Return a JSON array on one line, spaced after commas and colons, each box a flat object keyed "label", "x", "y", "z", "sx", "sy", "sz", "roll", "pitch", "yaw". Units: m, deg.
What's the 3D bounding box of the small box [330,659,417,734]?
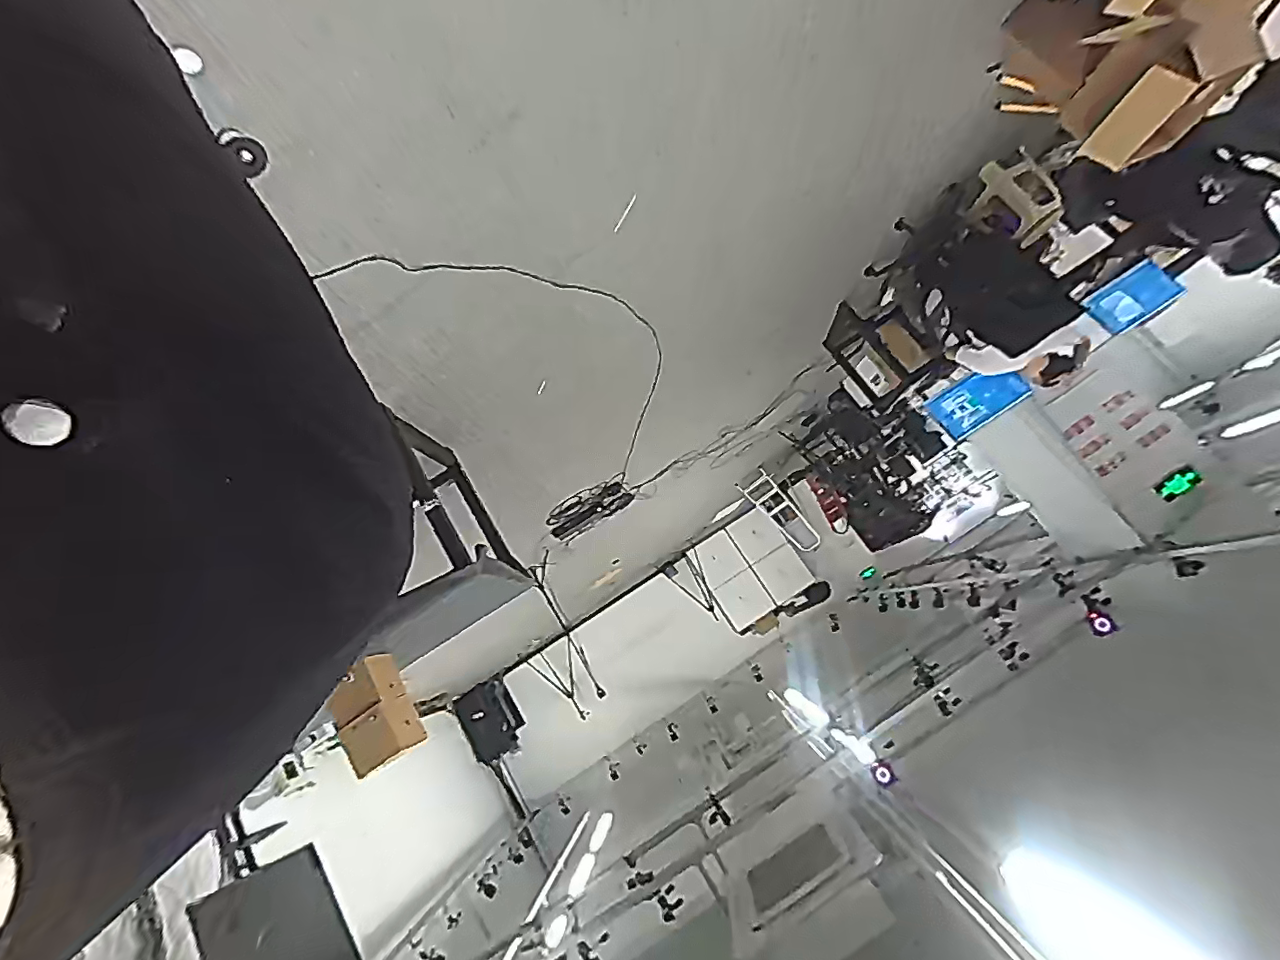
[{"label": "small box", "x": -0.893, "y": 0.719, "z": 1.817, "sx": 0.168, "sy": 0.176, "sz": 0.179, "roll": -34, "pitch": 164, "yaw": -4}]

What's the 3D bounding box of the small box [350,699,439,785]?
[{"label": "small box", "x": -0.802, "y": 0.846, "z": 1.764, "sx": 0.168, "sy": 0.176, "sz": 0.179, "roll": -35, "pitch": 166, "yaw": 0}]
